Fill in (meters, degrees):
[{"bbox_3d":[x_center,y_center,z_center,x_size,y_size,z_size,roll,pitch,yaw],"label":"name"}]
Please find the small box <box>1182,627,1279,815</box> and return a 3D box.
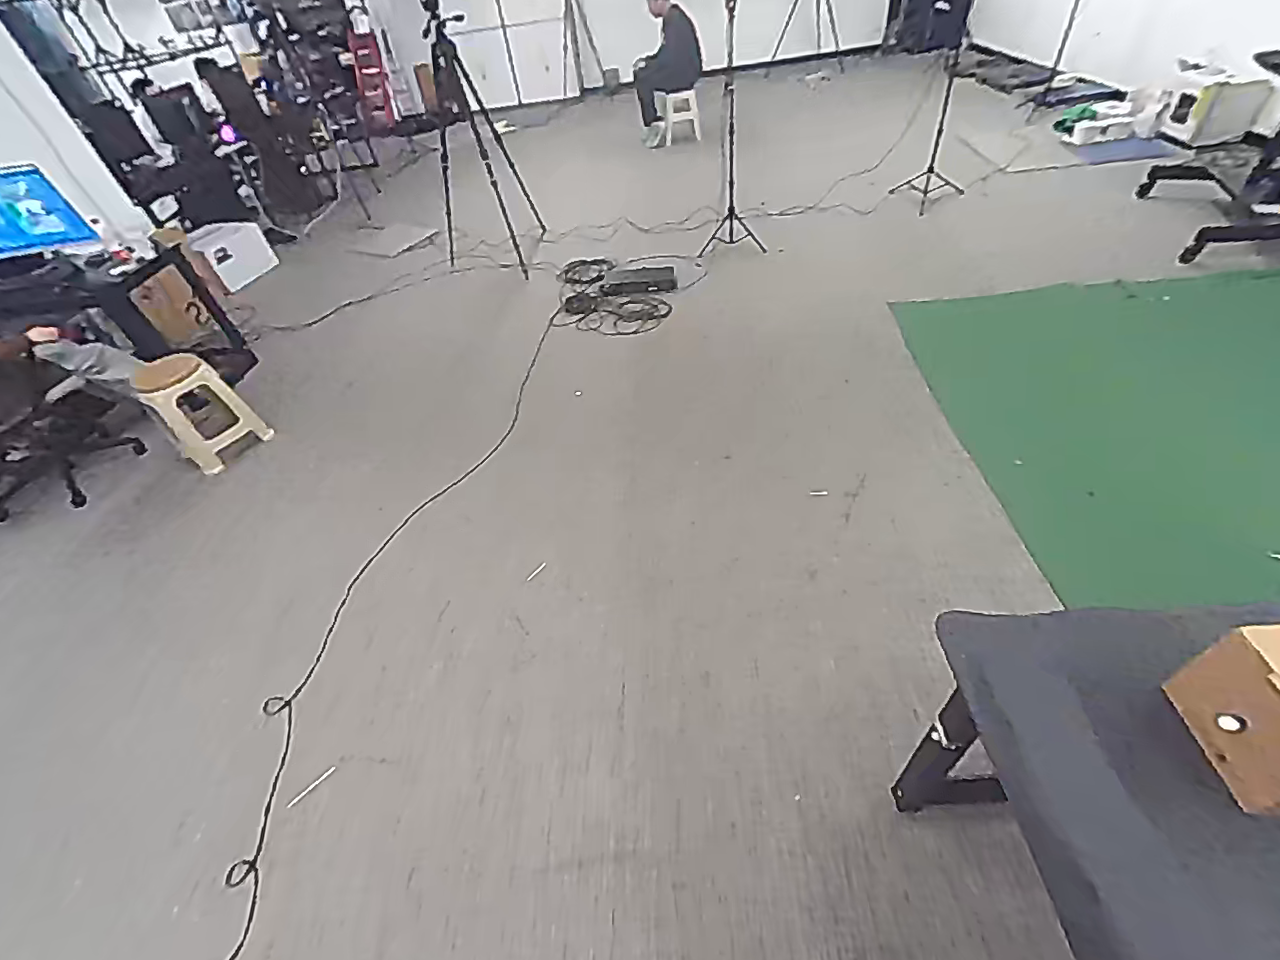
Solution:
[{"bbox_3d":[0.819,0.290,0.647,0.179,0.176,0.168,-4,45,7],"label":"small box"}]
